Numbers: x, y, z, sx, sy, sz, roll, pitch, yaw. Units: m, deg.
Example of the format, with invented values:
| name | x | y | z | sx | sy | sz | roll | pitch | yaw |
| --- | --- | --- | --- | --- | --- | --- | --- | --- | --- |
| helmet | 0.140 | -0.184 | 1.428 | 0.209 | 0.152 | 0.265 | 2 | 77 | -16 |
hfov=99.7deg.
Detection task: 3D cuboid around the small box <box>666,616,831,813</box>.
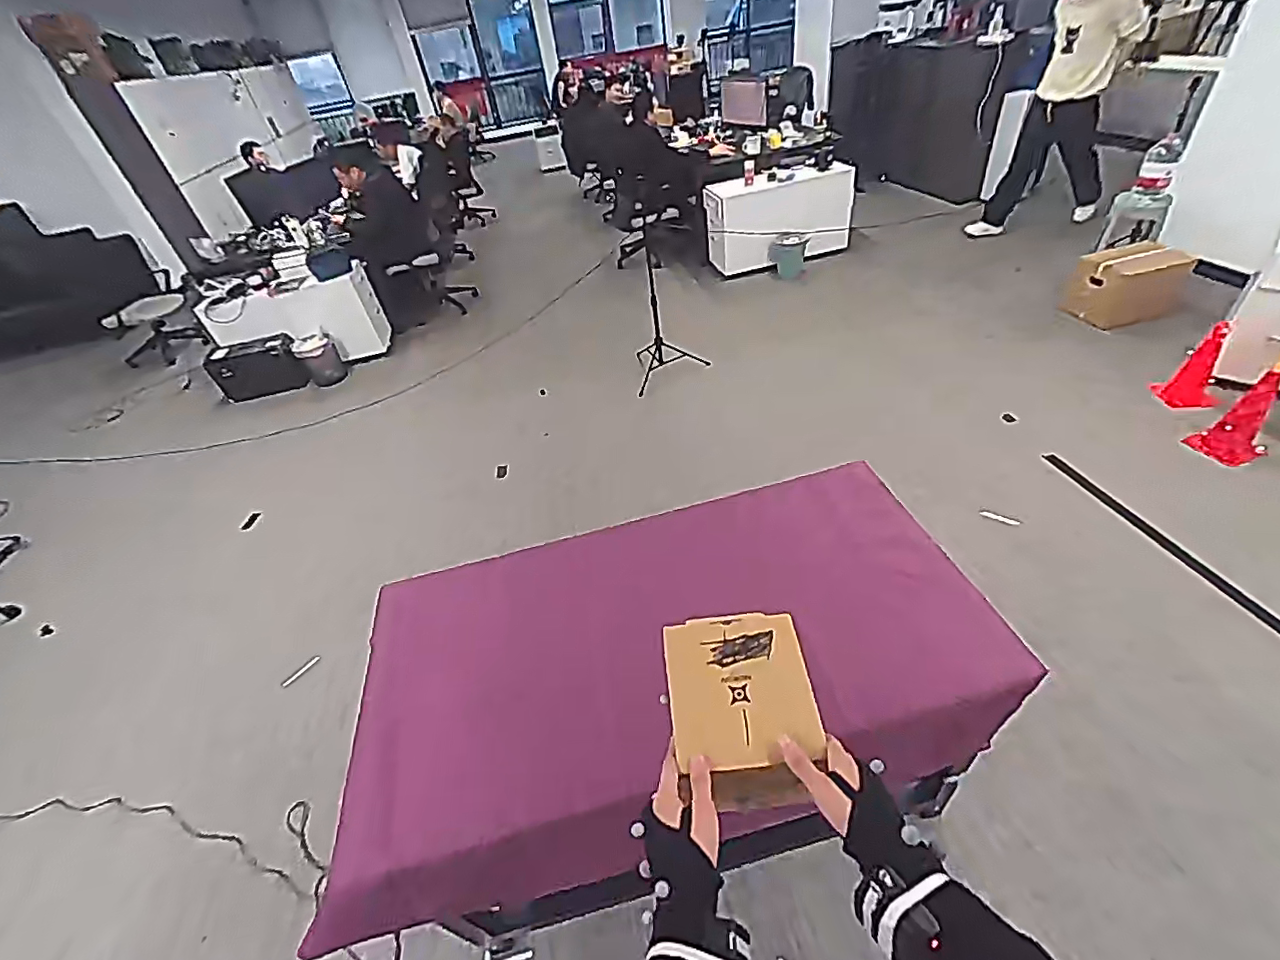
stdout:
| name | x | y | z | sx | sy | sz | roll | pitch | yaw |
| --- | --- | --- | --- | --- | --- | --- | --- | --- | --- |
| small box | 0.126 | 0.300 | 0.692 | 0.168 | 0.176 | 0.179 | -8 | 46 | 1 |
